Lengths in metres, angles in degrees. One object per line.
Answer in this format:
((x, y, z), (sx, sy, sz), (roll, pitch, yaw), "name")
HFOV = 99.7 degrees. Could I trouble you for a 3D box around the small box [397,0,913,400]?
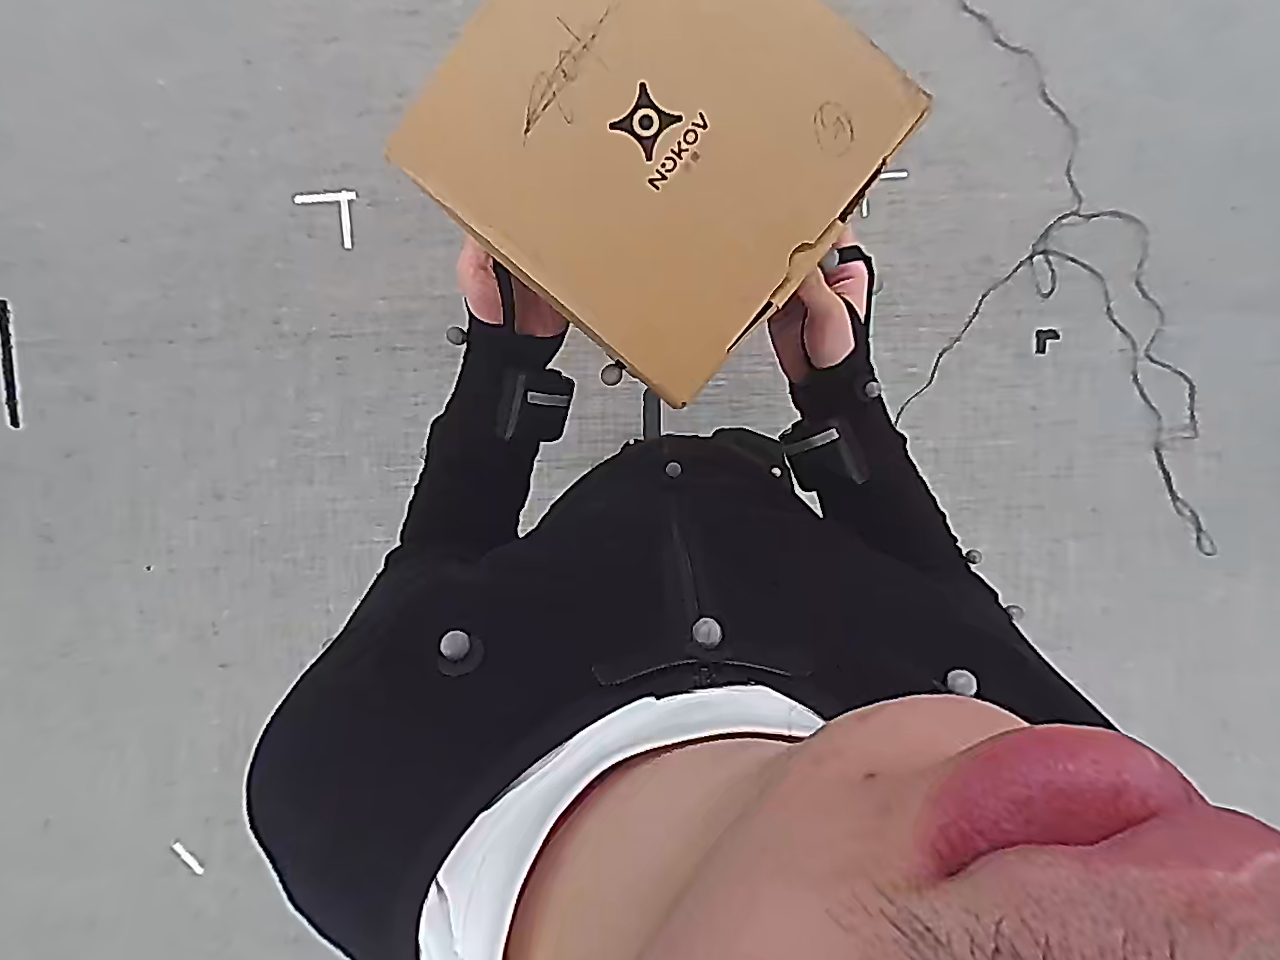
((0.008, -0.164, 0.321), (0.179, 0.176, 0.168), (39, 97, -2), "small box")
